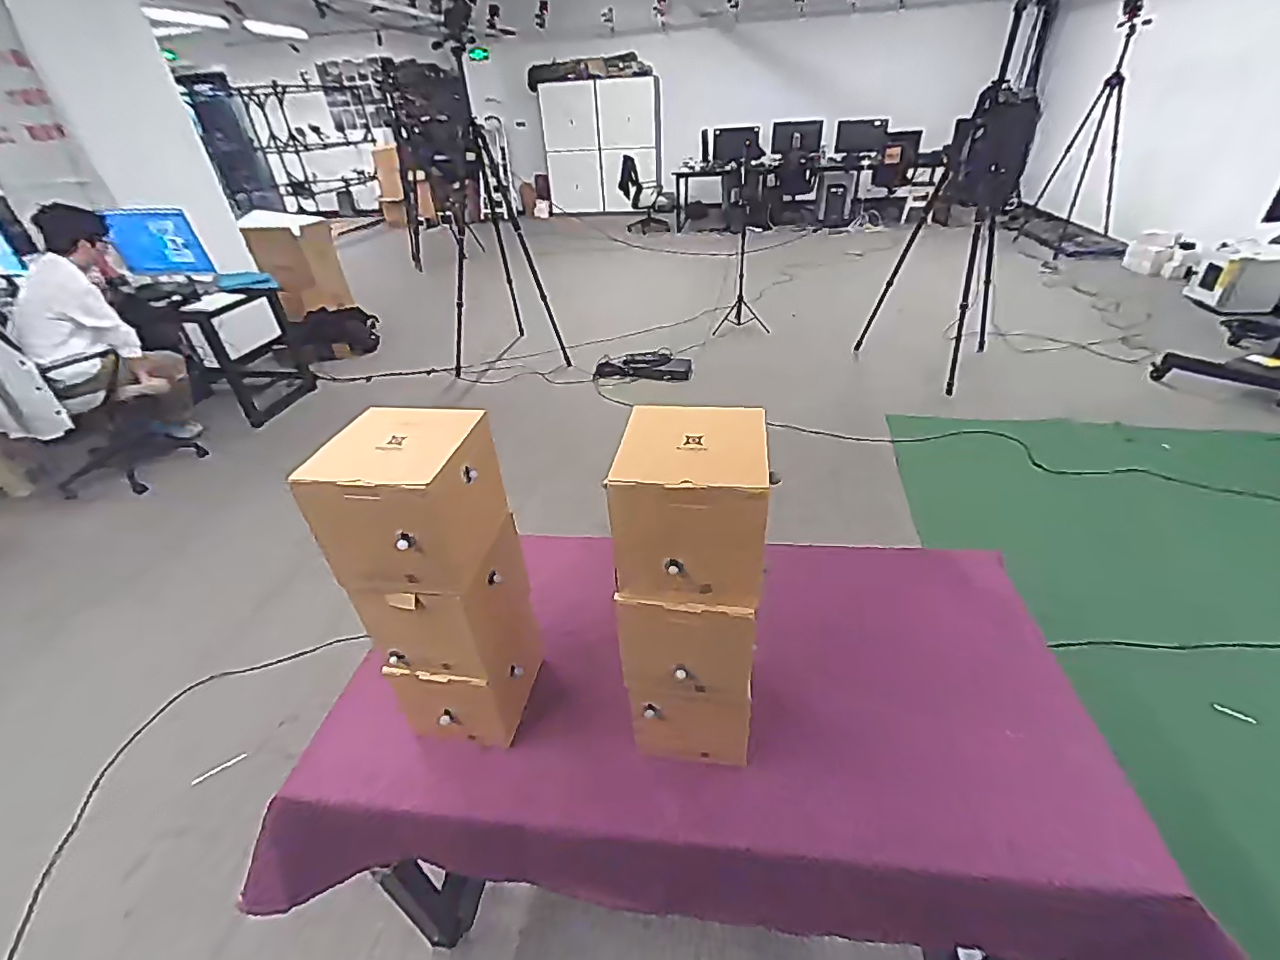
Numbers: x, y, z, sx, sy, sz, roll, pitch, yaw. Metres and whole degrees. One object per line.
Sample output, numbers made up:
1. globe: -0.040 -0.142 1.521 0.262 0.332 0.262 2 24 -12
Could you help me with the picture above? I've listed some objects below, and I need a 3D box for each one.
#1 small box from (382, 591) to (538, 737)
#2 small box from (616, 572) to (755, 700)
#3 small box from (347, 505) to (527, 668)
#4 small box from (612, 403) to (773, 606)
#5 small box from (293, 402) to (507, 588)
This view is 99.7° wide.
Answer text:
1. small box: -0.274 0.286 0.875 0.168 0.176 0.179 5 37 9
2. small box: 0.070 0.165 0.737 0.168 0.176 0.179 5 36 11
3. small box: -0.277 0.147 0.786 0.168 0.176 0.179 5 35 10
4. small box: 0.067 0.025 0.652 0.168 0.176 0.179 4 36 9
5. small box: -0.283 0.016 0.689 0.168 0.176 0.179 4 35 8
